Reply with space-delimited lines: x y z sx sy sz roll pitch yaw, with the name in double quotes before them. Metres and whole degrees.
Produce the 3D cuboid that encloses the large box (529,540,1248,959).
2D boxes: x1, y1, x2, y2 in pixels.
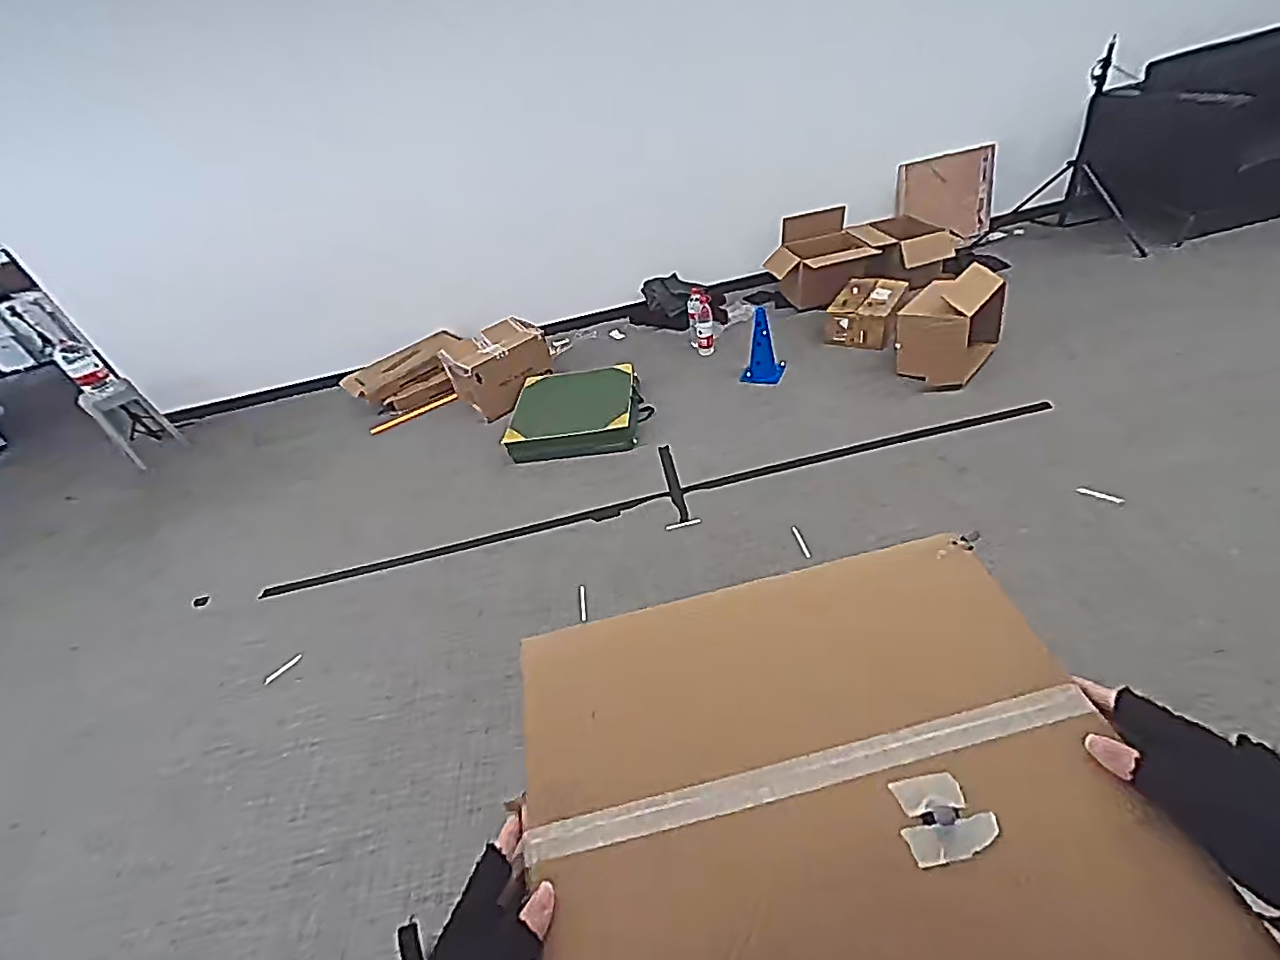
"large box" 0.140 0.310 0.502 0.408 0.320 0.320 -14 48 -3
